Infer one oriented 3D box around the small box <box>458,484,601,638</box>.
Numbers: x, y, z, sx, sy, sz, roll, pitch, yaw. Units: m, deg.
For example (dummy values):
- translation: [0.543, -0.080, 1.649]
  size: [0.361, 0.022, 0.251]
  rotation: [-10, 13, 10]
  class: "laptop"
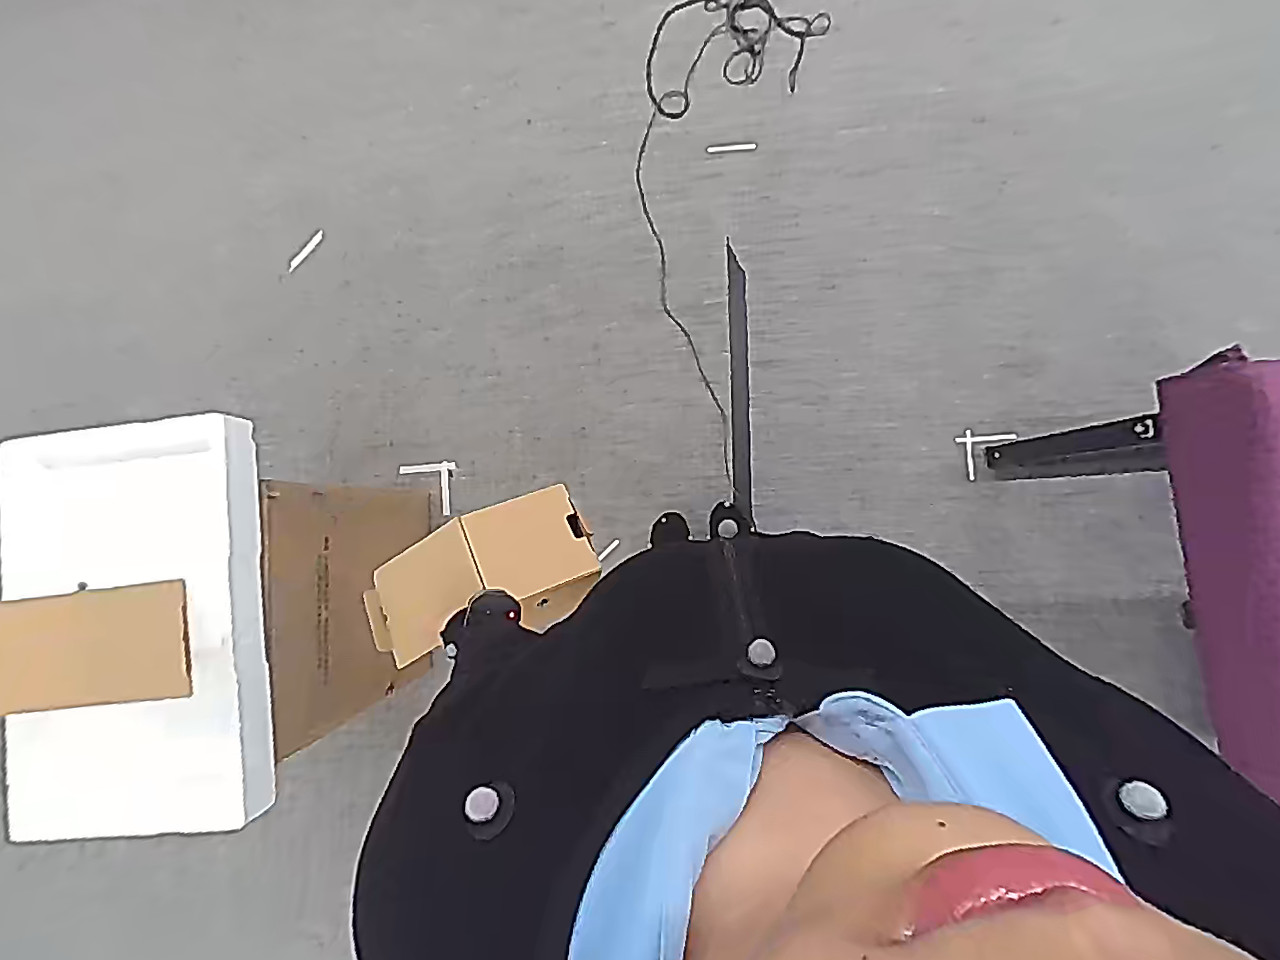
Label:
- translation: [-0.179, 0.137, 0.885]
  size: [0.179, 0.176, 0.168]
  rotation: [-19, 65, -20]
  class: "small box"
